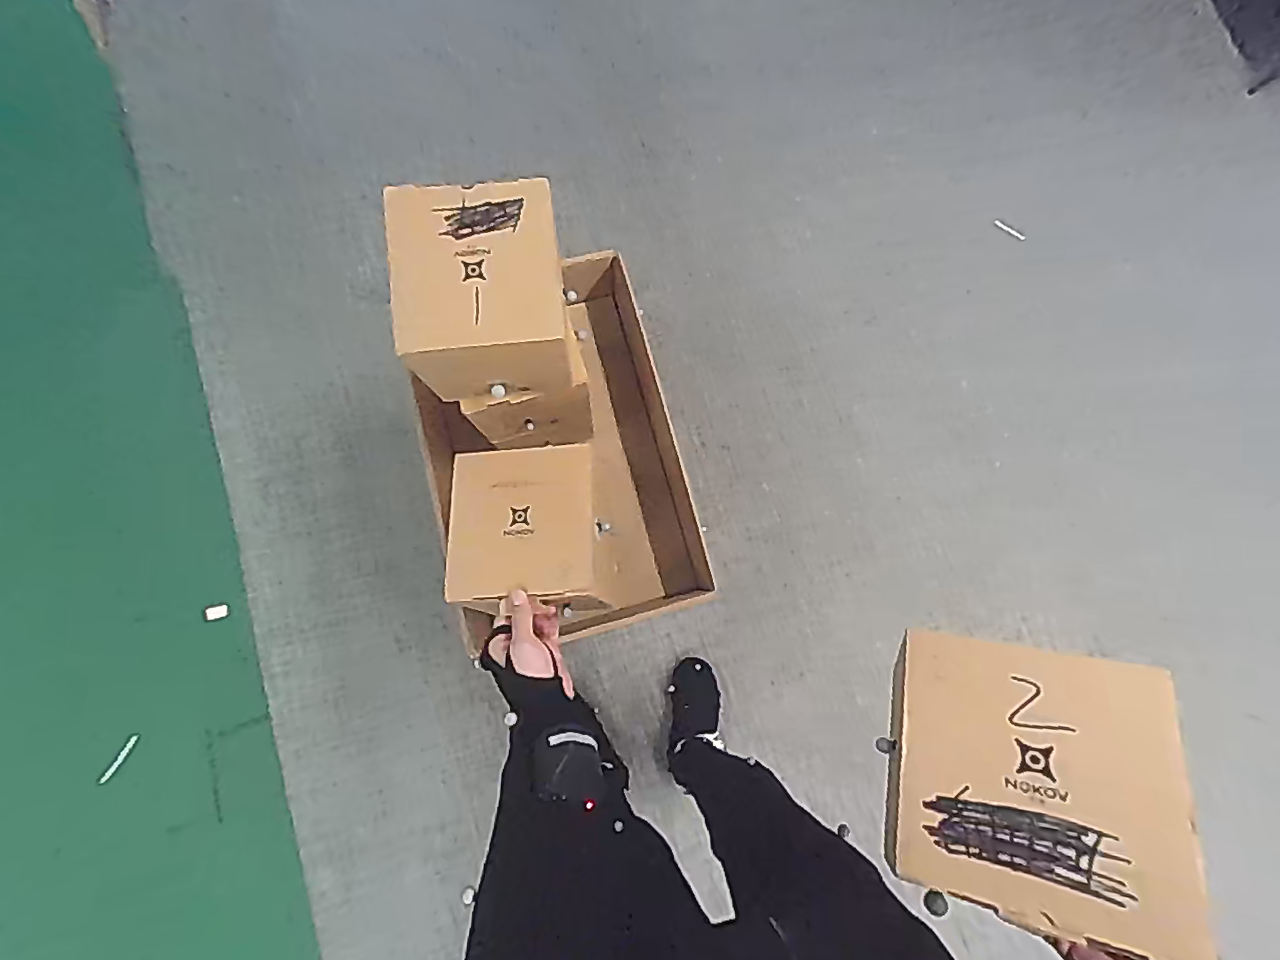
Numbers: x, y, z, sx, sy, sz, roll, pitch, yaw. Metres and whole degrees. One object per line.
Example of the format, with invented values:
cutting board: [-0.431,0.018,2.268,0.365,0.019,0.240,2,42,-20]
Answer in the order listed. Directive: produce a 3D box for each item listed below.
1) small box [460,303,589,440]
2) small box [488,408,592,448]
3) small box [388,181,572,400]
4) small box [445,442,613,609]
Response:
small box: [-0.175,-0.175,0.780,0.168,0.176,0.179,-16,83,-6]
small box: [-0.183,-0.152,0.940,0.168,0.176,0.179,-15,82,-5]
small box: [-0.171,-0.204,0.618,0.168,0.176,0.179,-6,82,-4]
small box: [-0.127,0.068,0.686,0.168,0.176,0.179,-4,70,5]
